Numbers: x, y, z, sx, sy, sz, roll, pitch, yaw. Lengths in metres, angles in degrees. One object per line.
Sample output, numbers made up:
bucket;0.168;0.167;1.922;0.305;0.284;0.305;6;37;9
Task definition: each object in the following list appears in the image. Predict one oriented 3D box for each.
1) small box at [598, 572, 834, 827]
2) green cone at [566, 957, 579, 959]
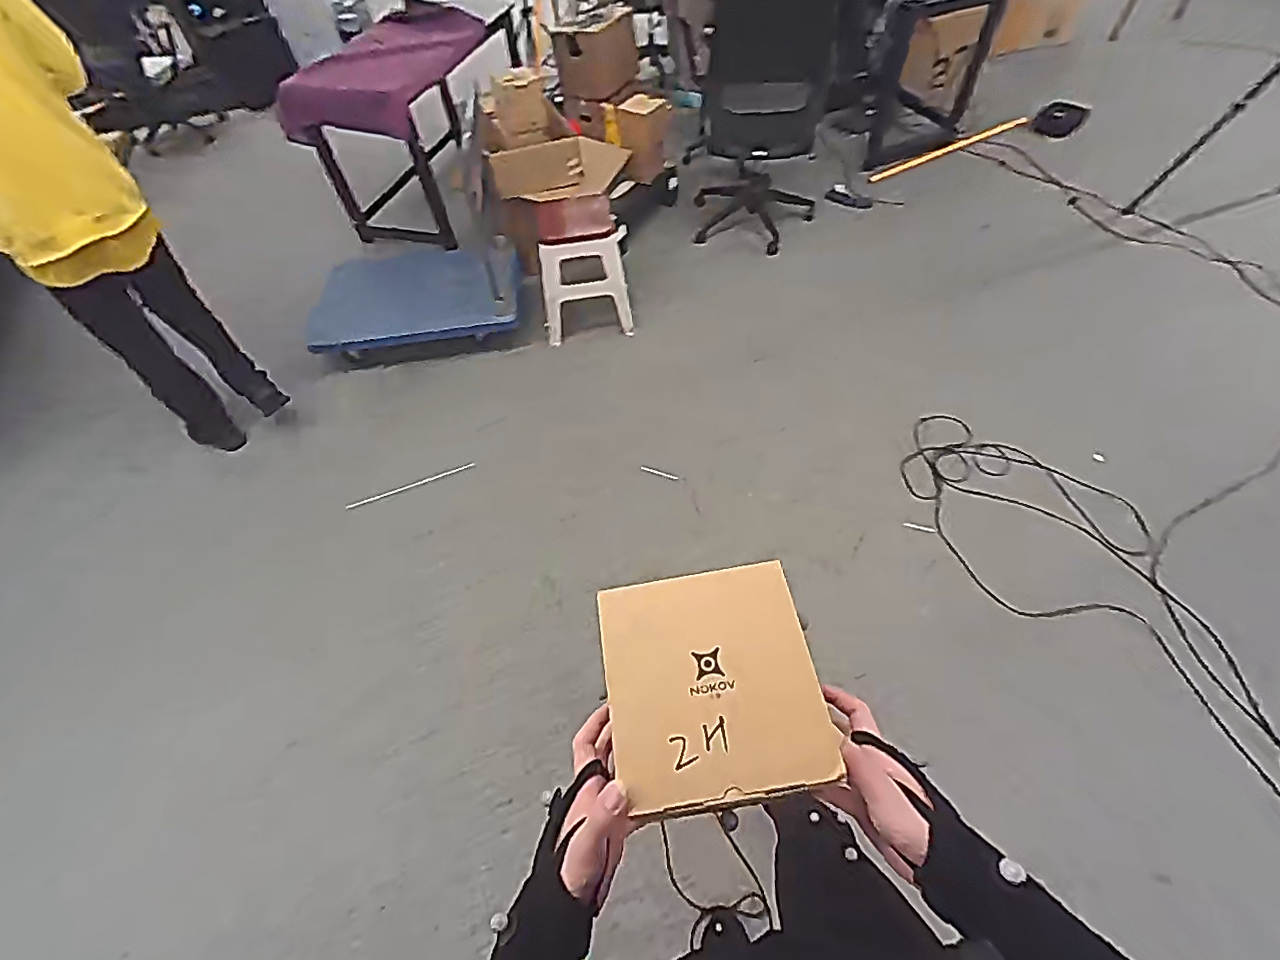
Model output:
small box;0.057;0.209;0.503;0.168;0.176;0.179;-9;56;0
green cone;-0.197;1.064;0.996;0.202;0.368;0.200;-18;56;-10
